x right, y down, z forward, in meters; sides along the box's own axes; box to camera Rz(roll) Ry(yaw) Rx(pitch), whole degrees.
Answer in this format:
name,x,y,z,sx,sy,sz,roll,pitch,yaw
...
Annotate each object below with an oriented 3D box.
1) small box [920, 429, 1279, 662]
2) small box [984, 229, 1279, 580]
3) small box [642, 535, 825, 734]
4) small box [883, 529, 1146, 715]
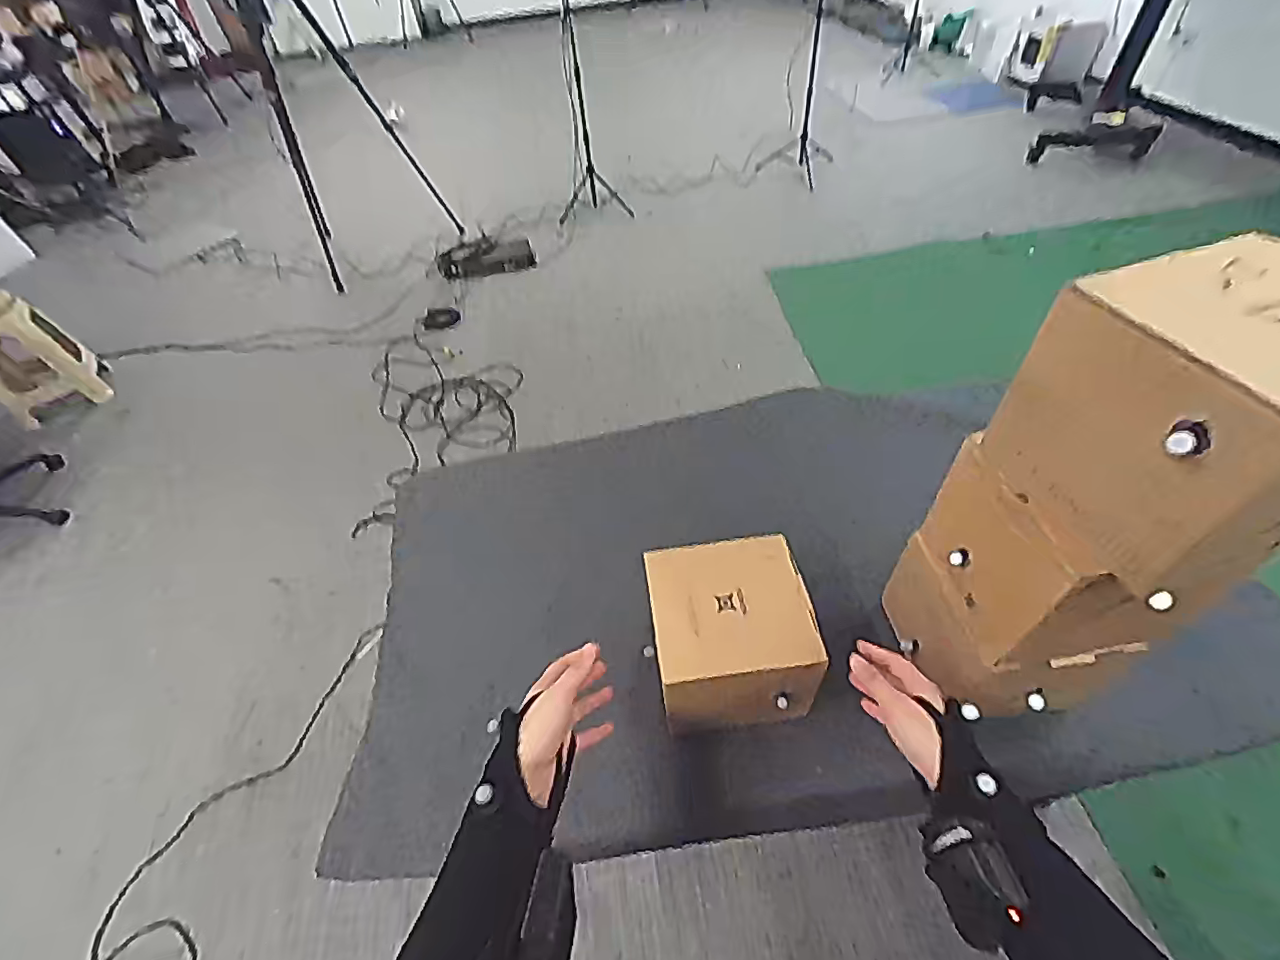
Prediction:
name,x,y,z,sx,sy,sz,roll,pitch,yaw
small box,0.410,0.056,0.522,0.179,0.176,0.168,-10,48,0
small box,0.403,-0.048,0.393,0.168,0.176,0.179,-16,48,-6
small box,0.103,0.192,0.661,0.179,0.176,0.168,-9,48,0
small box,0.417,0.165,0.643,0.168,0.176,0.179,-9,49,0
